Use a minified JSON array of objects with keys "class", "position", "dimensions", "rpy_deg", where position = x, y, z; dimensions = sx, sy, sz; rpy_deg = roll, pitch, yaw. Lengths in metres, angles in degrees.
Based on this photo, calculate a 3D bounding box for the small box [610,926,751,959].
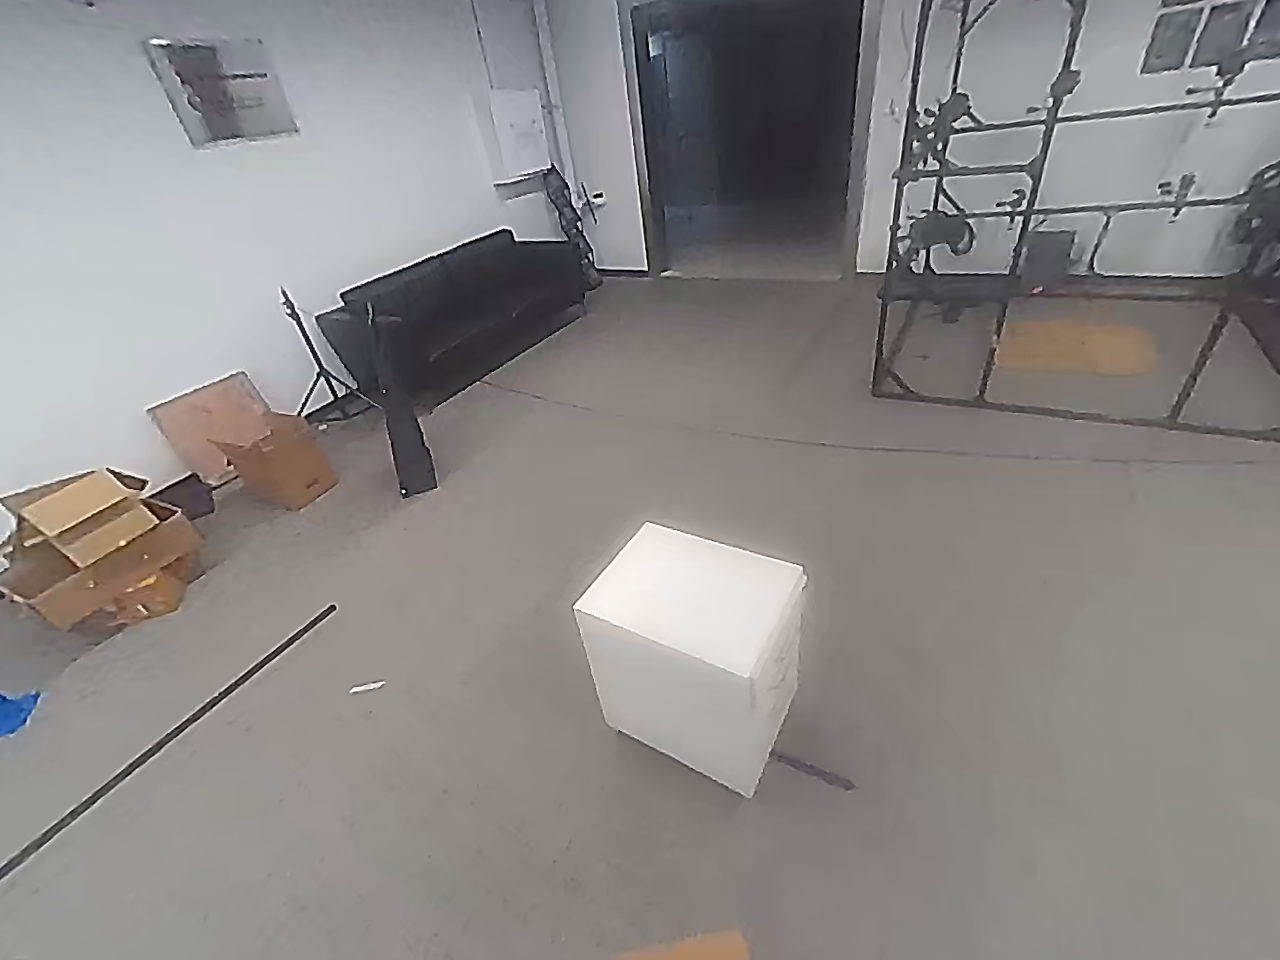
[{"class":"small box","position":[0.061,0.661,0.629],"dimensions":[0.168,0.176,0.179],"rpy_deg":[-10,43,-4]}]
